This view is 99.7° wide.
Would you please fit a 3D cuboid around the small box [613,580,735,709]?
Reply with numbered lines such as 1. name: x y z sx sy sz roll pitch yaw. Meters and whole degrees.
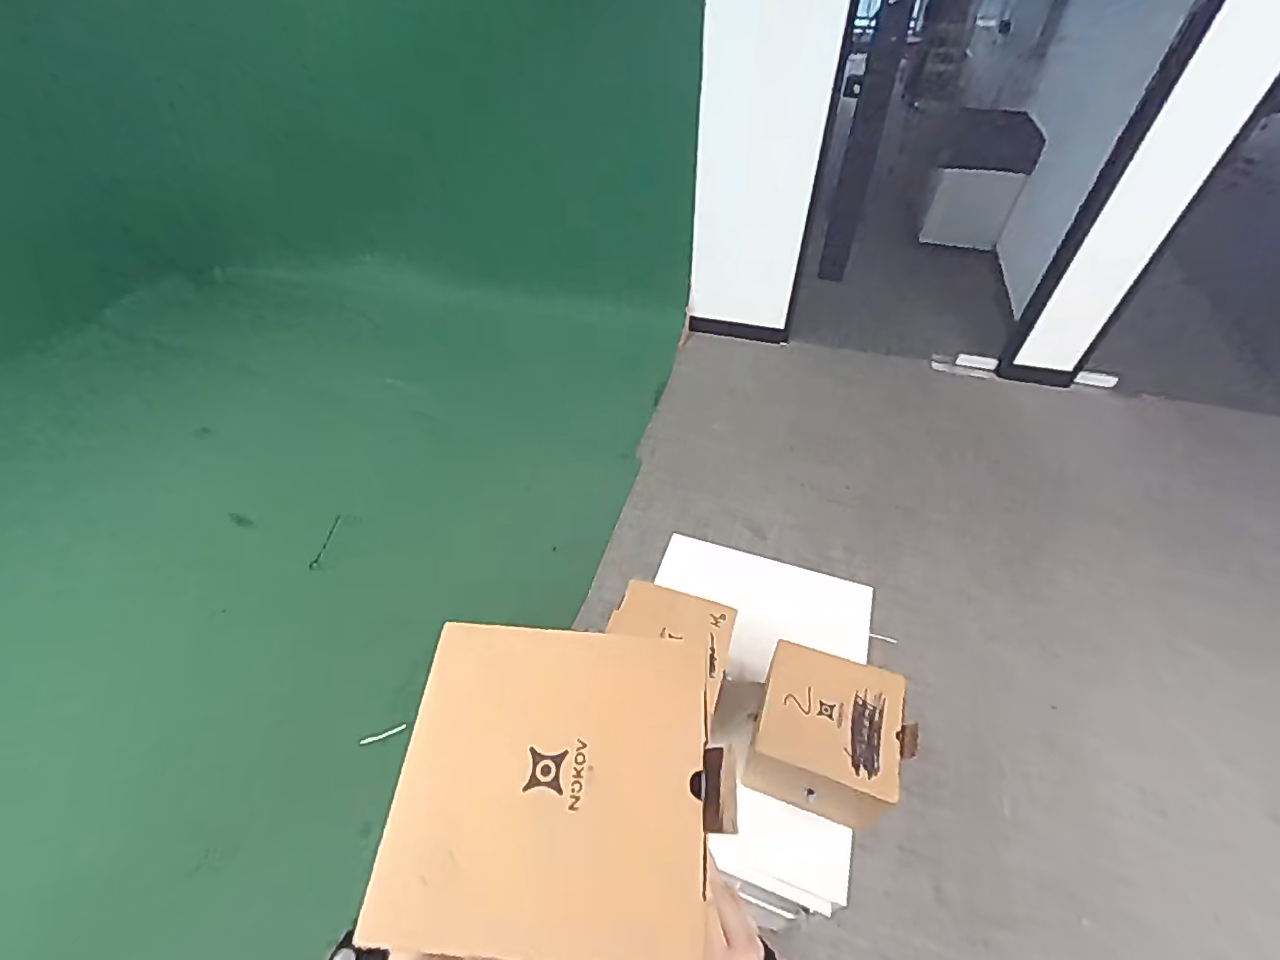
1. small box: 0.037 0.288 0.849 0.179 0.176 0.168 14 49 12

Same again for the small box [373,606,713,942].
1. small box: -0.045 0.204 0.382 0.179 0.176 0.168 4 54 2
